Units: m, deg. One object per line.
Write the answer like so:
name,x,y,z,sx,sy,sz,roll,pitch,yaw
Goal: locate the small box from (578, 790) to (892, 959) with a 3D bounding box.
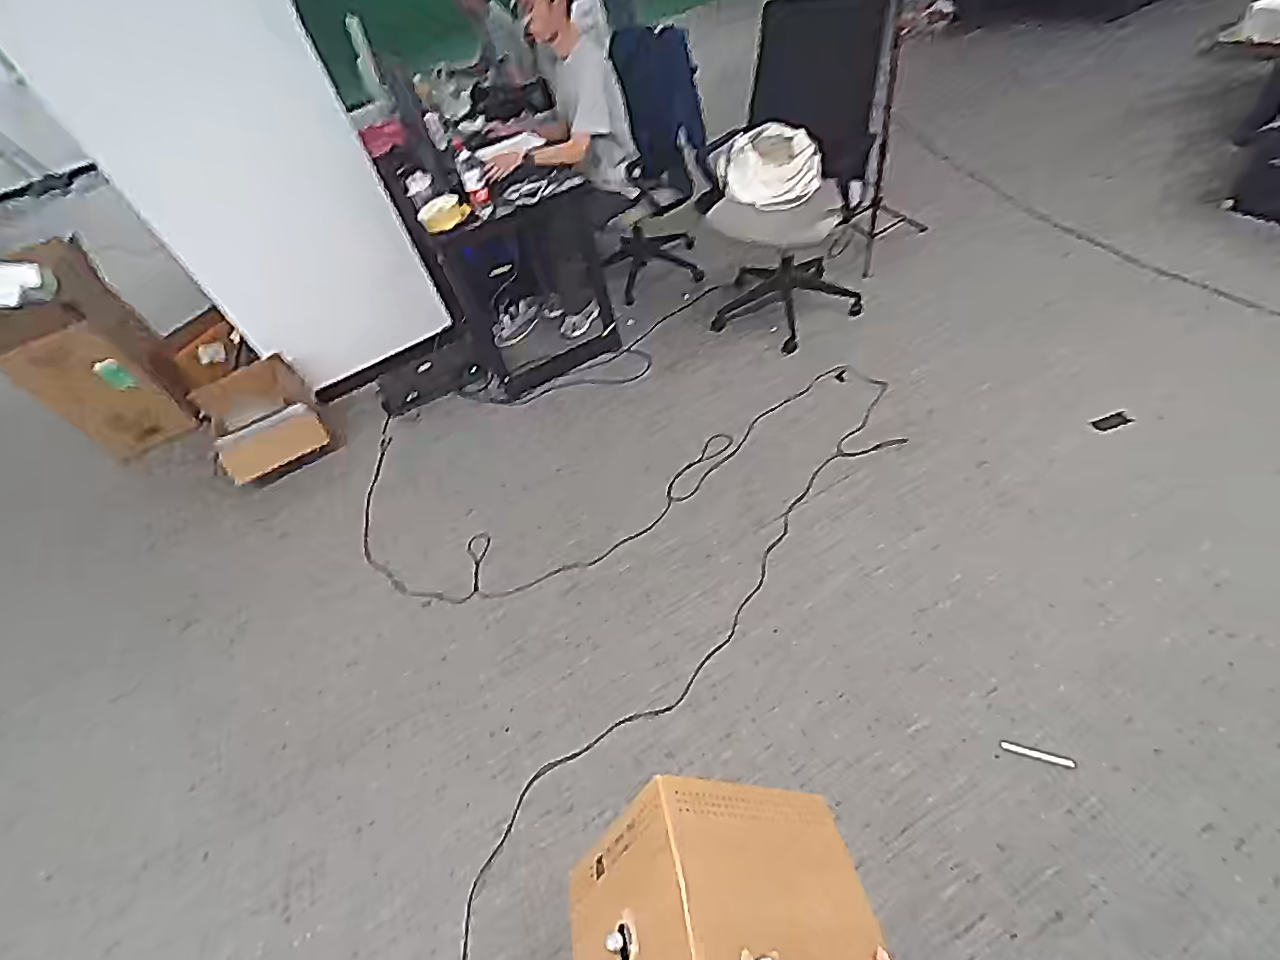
small box,0.064,0.363,0.409,0.179,0.168,0.176,20,28,-23
